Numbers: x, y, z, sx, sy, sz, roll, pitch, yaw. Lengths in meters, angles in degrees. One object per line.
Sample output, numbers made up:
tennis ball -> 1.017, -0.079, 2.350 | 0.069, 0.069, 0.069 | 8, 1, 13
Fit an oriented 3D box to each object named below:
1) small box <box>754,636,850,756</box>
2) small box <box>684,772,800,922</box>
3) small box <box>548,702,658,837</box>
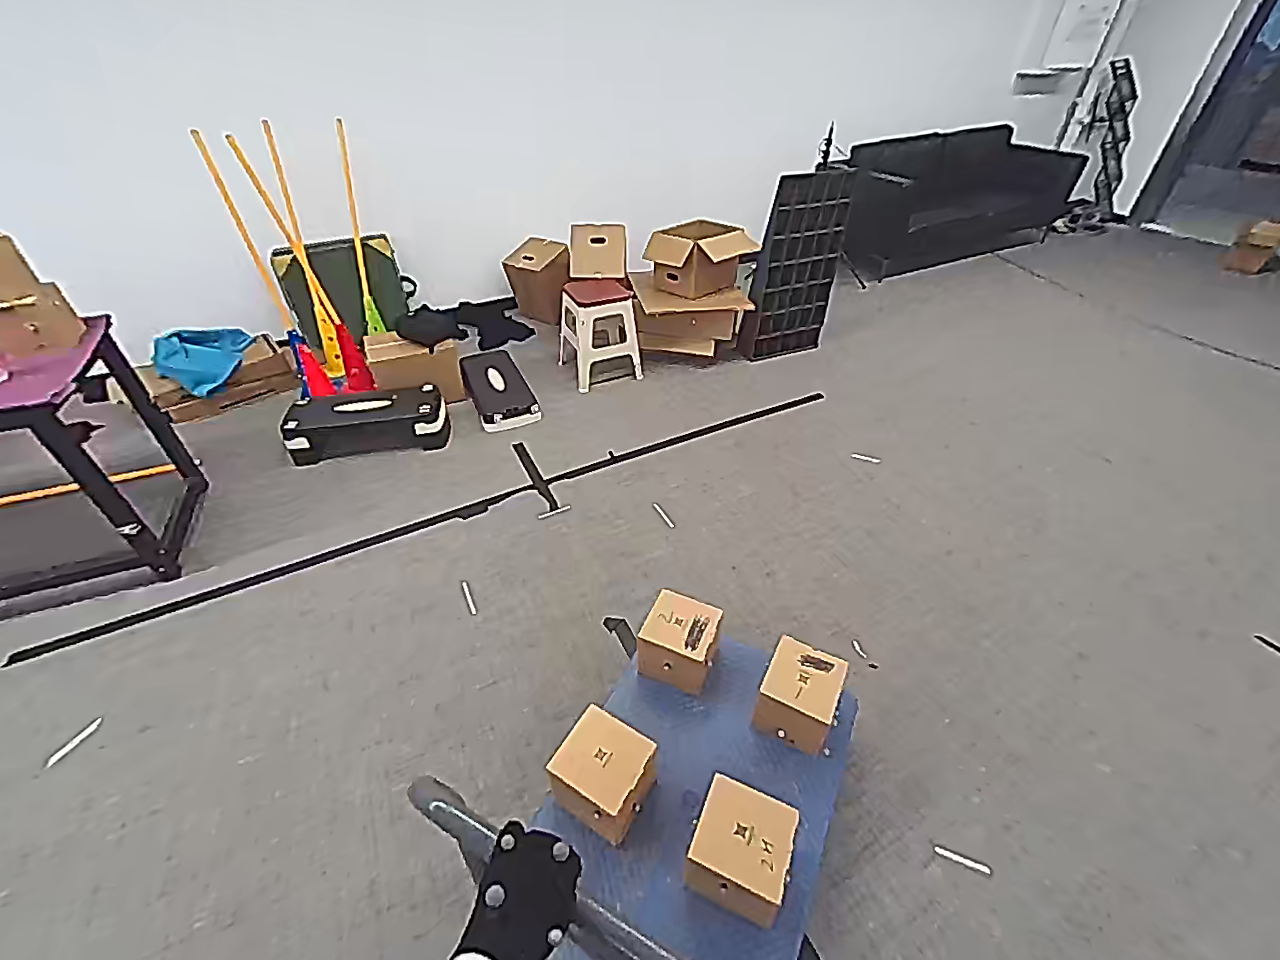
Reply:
small box -> 0.388, 0.523, 1.310 | 0.168, 0.176, 0.179 | 21, 45, 23
small box -> 0.195, 0.726, 1.066 | 0.179, 0.176, 0.168 | 18, 43, 20
small box -> -0.078, 0.632, 1.177 | 0.179, 0.176, 0.168 | 24, 45, 23
